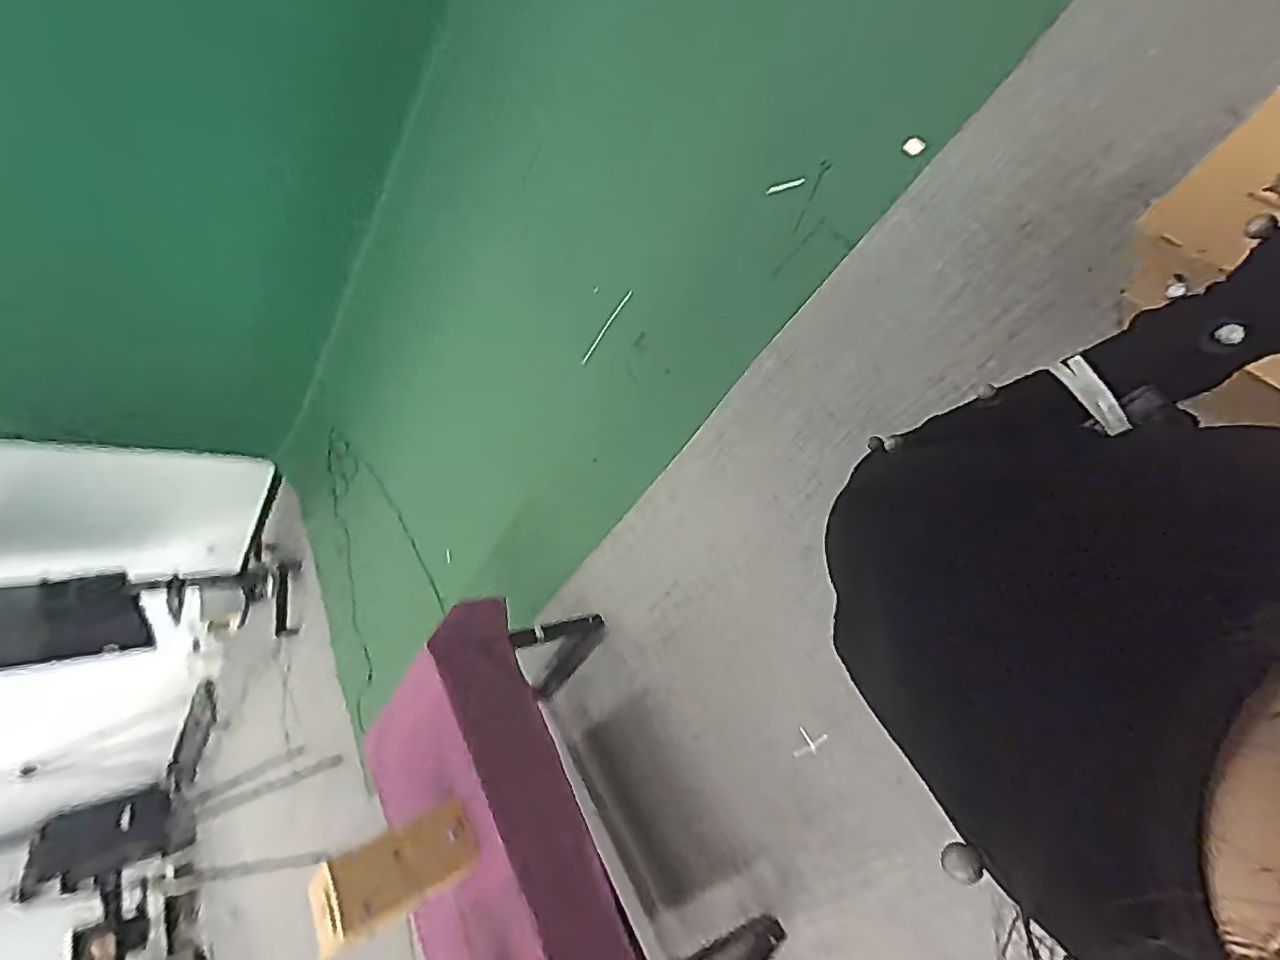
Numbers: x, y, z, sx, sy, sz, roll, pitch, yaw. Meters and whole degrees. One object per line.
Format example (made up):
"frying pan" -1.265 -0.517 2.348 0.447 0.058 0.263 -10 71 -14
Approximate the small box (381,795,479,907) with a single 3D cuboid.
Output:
"small box" -0.553 0.973 1.427 0.179 0.176 0.168 -50 58 28

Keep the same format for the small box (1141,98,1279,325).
"small box" 0.779 -0.323 0.675 0.179 0.176 0.168 -52 58 30
